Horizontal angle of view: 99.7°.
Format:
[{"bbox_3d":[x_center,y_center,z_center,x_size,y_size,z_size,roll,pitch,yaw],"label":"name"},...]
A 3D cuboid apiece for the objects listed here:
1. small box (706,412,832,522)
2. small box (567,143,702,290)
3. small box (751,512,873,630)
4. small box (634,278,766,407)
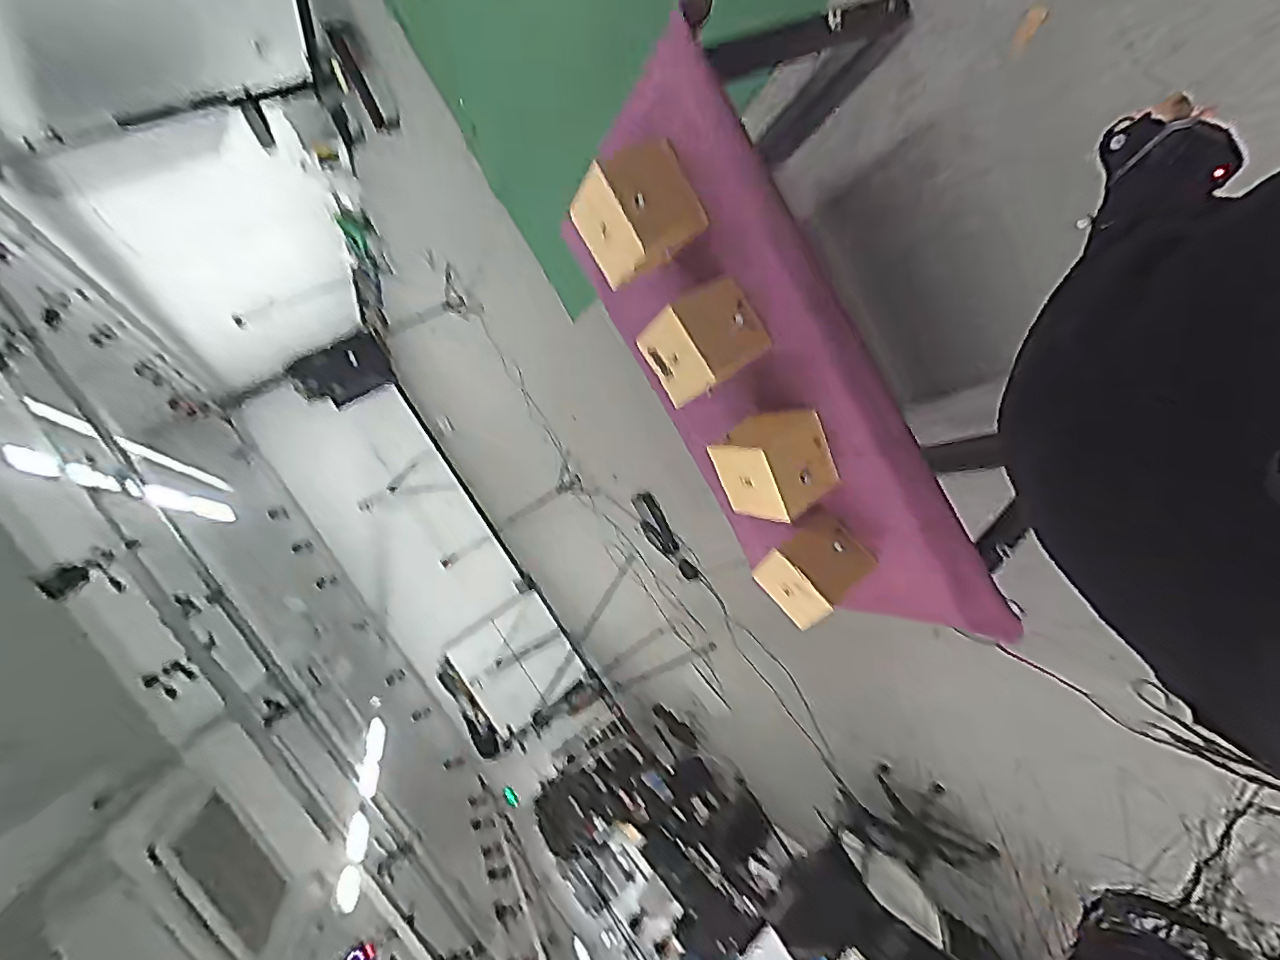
[{"bbox_3d":[0.277,-0.034,1.137,0.179,0.176,0.168,8,129,60],"label":"small box"},{"bbox_3d":[-0.010,-0.510,1.053,0.179,0.176,0.168,59,157,-8],"label":"small box"},{"bbox_3d":[0.388,0.206,1.225,0.168,0.176,0.179,47,154,18],"label":"small box"},{"bbox_3d":[0.122,-0.278,1.107,0.168,0.176,0.179,57,155,-4],"label":"small box"}]
